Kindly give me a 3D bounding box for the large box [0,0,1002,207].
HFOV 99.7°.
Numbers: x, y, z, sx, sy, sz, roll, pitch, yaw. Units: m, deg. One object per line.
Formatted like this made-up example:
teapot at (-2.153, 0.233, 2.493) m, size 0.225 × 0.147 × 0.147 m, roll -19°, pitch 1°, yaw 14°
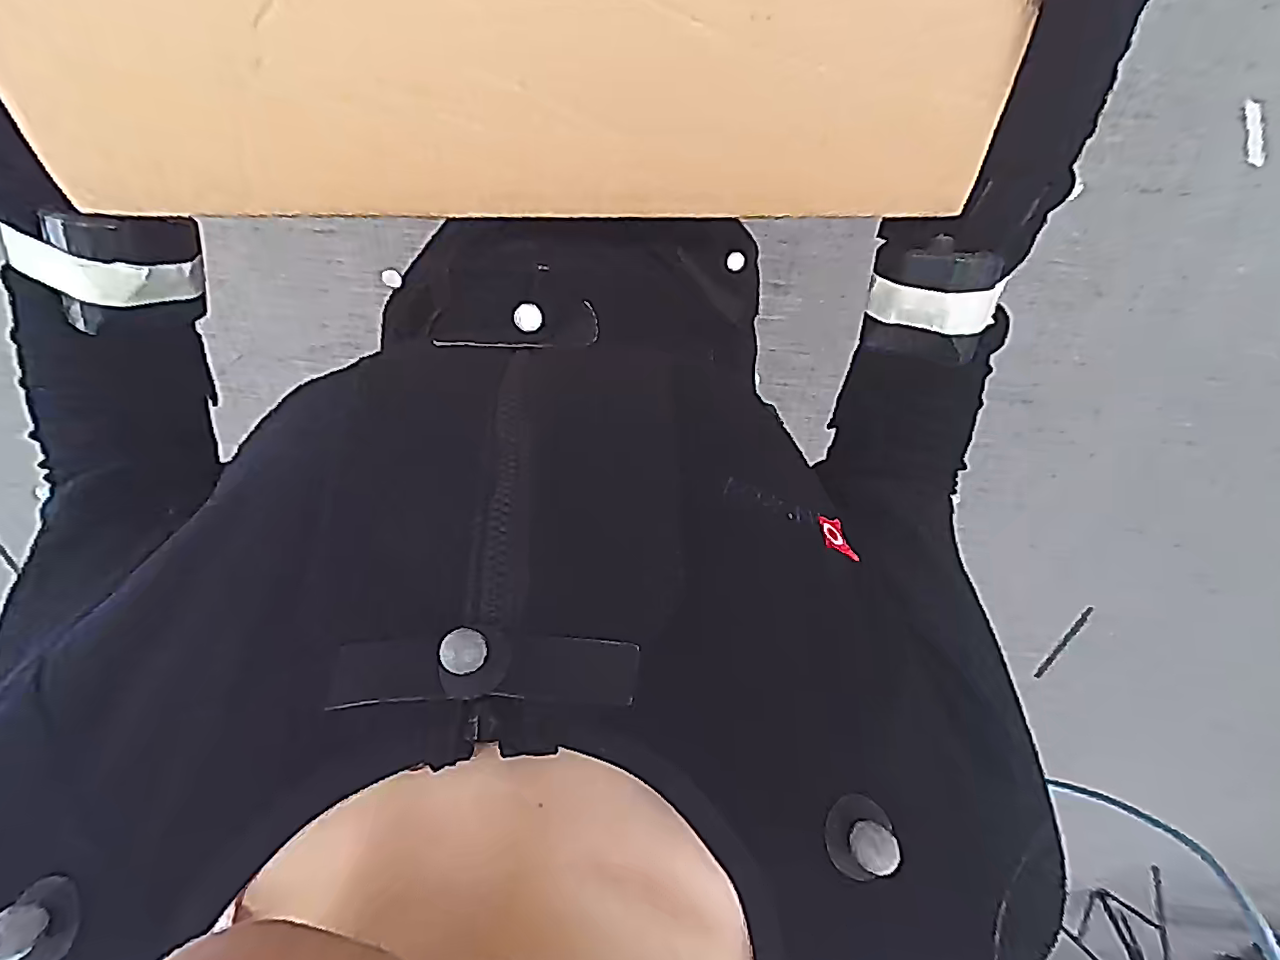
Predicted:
large box at (-0.057, -0.348, 0.263) m, size 0.408 × 0.320 × 0.320 m, roll -2°, pitch 132°, yaw -2°
